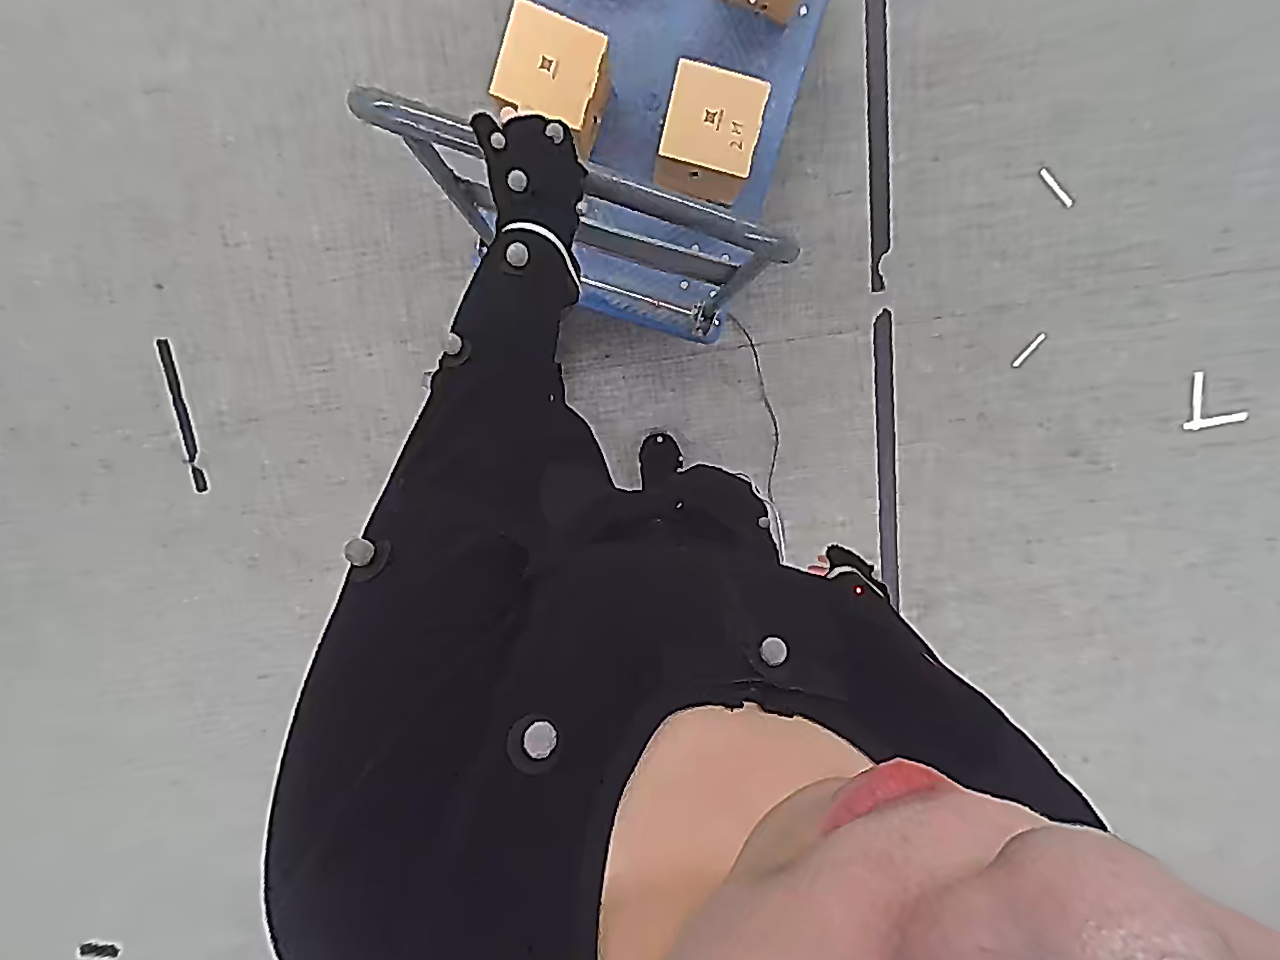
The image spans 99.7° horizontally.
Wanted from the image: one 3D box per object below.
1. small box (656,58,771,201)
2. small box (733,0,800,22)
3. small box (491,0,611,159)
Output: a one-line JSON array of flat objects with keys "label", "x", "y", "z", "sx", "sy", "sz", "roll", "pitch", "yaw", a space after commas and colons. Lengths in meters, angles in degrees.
[{"label": "small box", "x": 0.134, "y": -0.675, "z": 1.065, "sx": 0.179, "sy": 0.176, "sz": 0.168, "roll": 13, "pitch": 101, "yaw": -4}, {"label": "small box", "x": 0.255, "y": -1.015, "z": 0.998, "sx": 0.168, "sy": 0.176, "sz": 0.179, "roll": 18, "pitch": 102, "yaw": -6}, {"label": "small box", "x": -0.164, "y": -0.755, "z": 1.041, "sx": 0.179, "sy": 0.176, "sz": 0.168, "roll": 19, "pitch": 101, "yaw": -7}]
